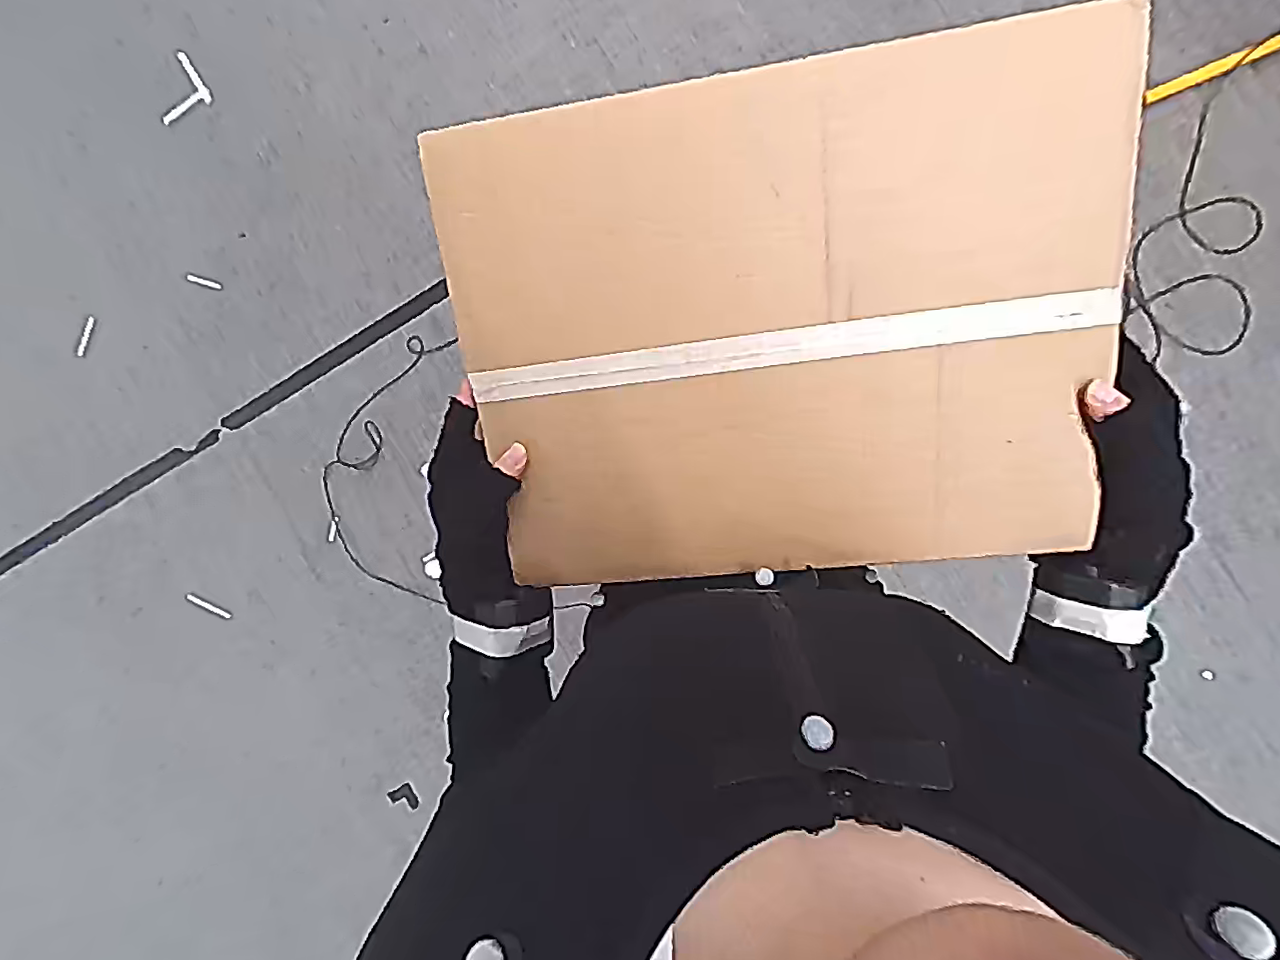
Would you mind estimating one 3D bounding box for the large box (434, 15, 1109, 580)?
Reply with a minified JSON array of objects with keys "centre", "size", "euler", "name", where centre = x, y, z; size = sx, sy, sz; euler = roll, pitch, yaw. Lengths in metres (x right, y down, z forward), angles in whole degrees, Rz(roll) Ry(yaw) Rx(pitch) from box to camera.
[{"centre":[0.094,-0.128,0.501],"size":[0.408,0.320,0.320],"euler":[-5,107,8],"name":"large box"}]
